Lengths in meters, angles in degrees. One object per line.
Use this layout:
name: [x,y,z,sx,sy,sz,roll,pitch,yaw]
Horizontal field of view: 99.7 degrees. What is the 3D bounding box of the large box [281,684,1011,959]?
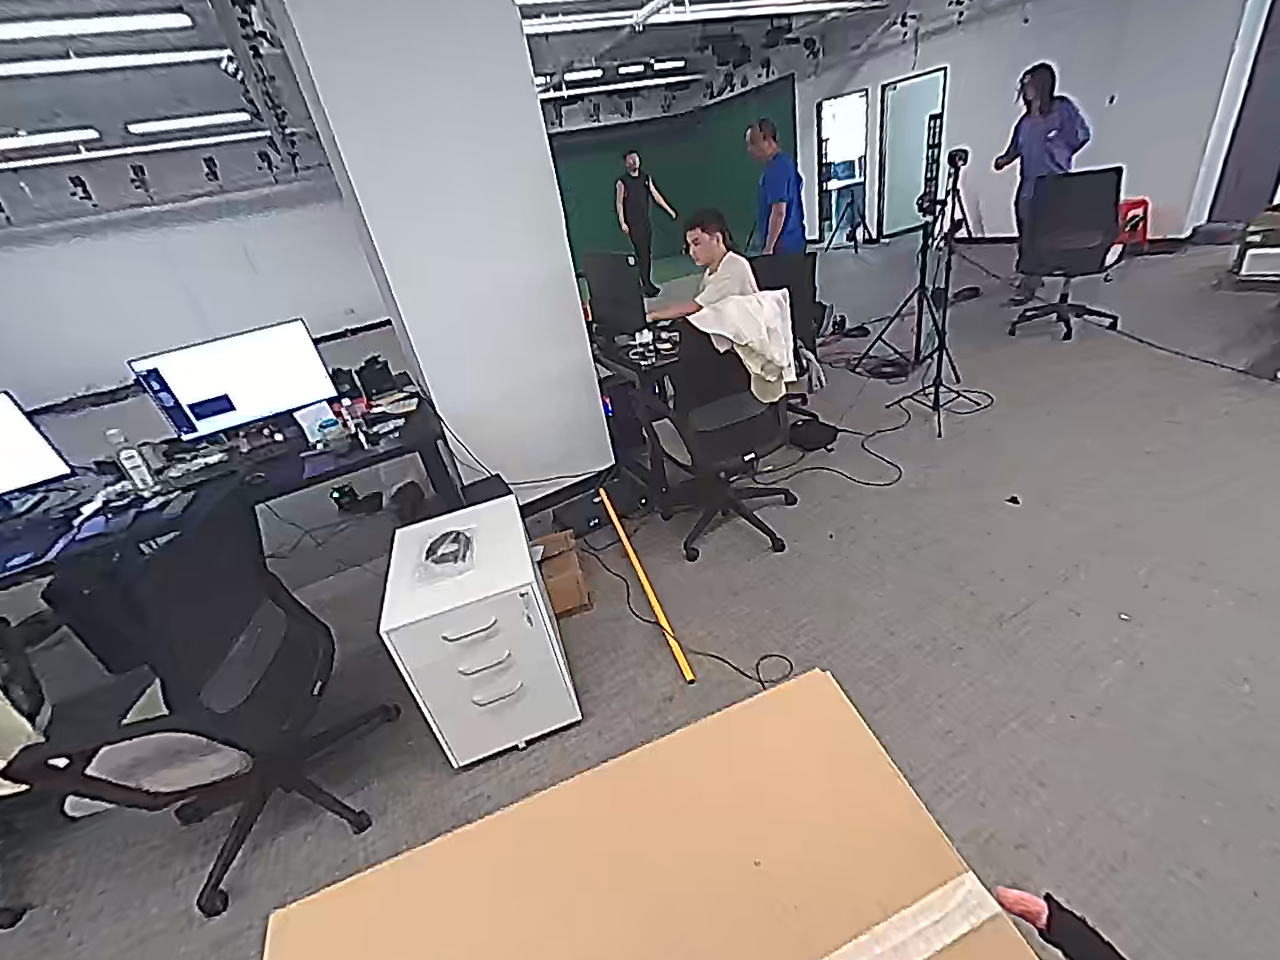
large box: [0.029,0.421,0.378,0.408,0.320,0.320,-19,42,-12]
